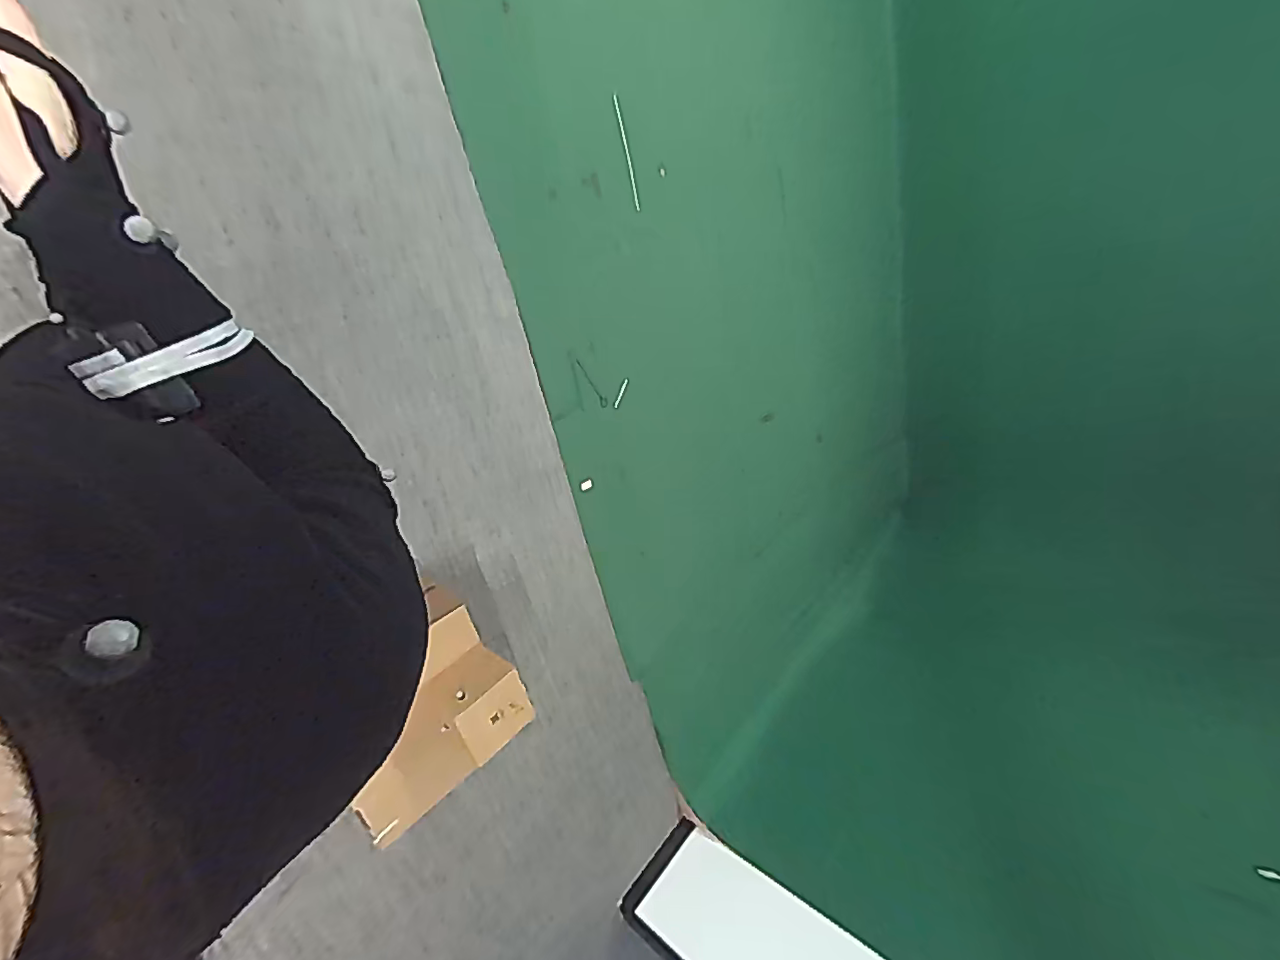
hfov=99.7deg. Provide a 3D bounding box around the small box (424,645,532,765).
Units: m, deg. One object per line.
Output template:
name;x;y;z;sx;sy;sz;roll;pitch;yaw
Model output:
small box;-0.400;0.539;1.318;0.179;0.176;0.168;-34;122;-37
